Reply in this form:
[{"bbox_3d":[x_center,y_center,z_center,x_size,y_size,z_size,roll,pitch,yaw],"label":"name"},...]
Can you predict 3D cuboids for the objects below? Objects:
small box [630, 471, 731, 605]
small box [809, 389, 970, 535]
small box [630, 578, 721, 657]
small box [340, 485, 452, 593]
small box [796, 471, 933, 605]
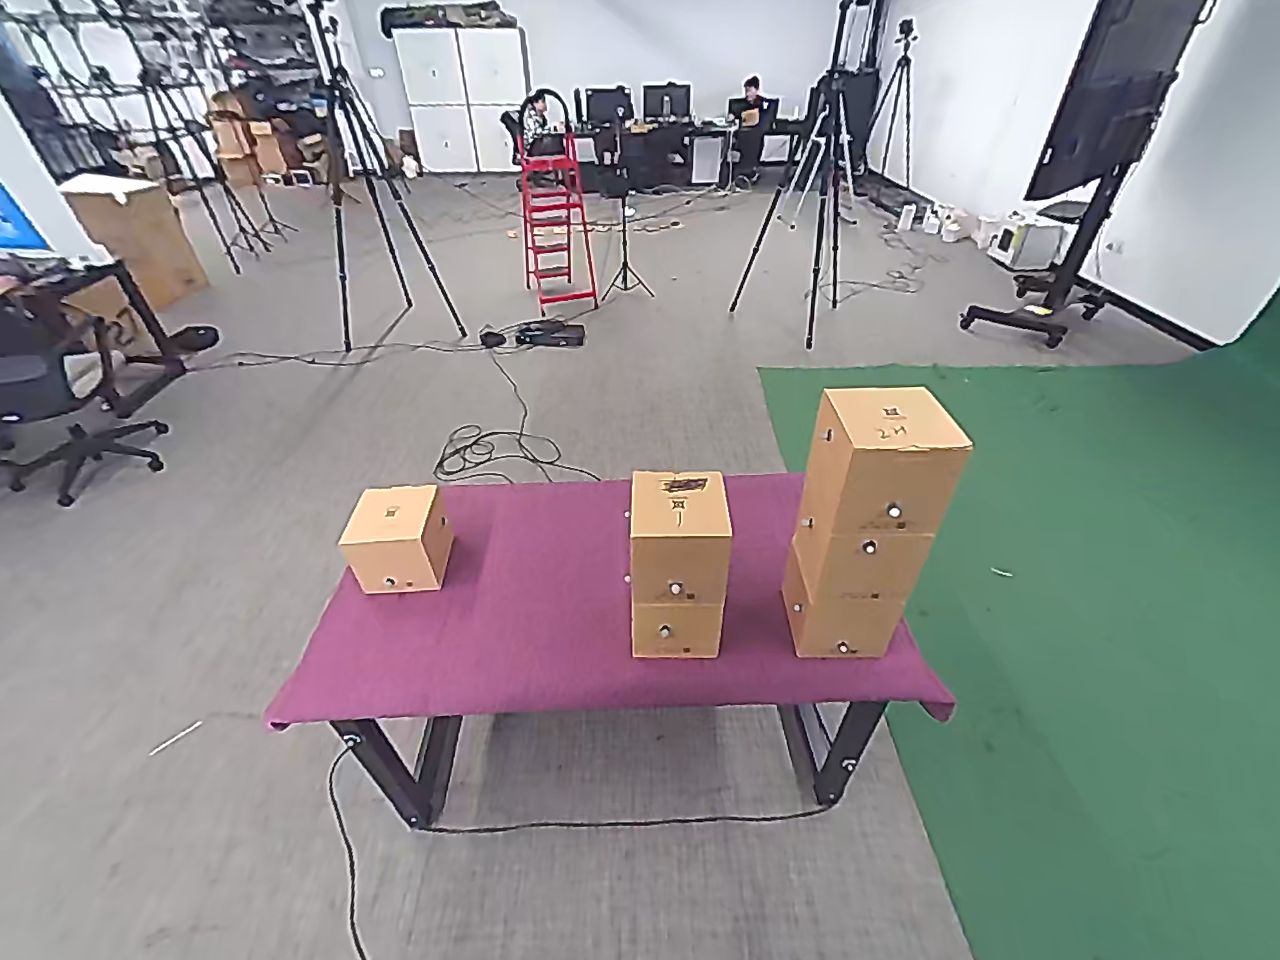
[{"bbox_3d":[0.067,0.102,0.974,0.168,0.176,0.179,0,38,2],"label":"small box"},{"bbox_3d":[0.380,-0.032,0.865,0.168,0.176,0.179,-1,39,2],"label":"small box"},{"bbox_3d":[0.068,0.233,1.073,0.168,0.176,0.179,0,37,1],"label":"small box"},{"bbox_3d":[-0.531,0.131,1.210,0.168,0.176,0.179,-3,40,-3],"label":"small box"},{"bbox_3d":[0.384,0.100,0.964,0.168,0.176,0.179,0,38,3],"label":"small box"}]
